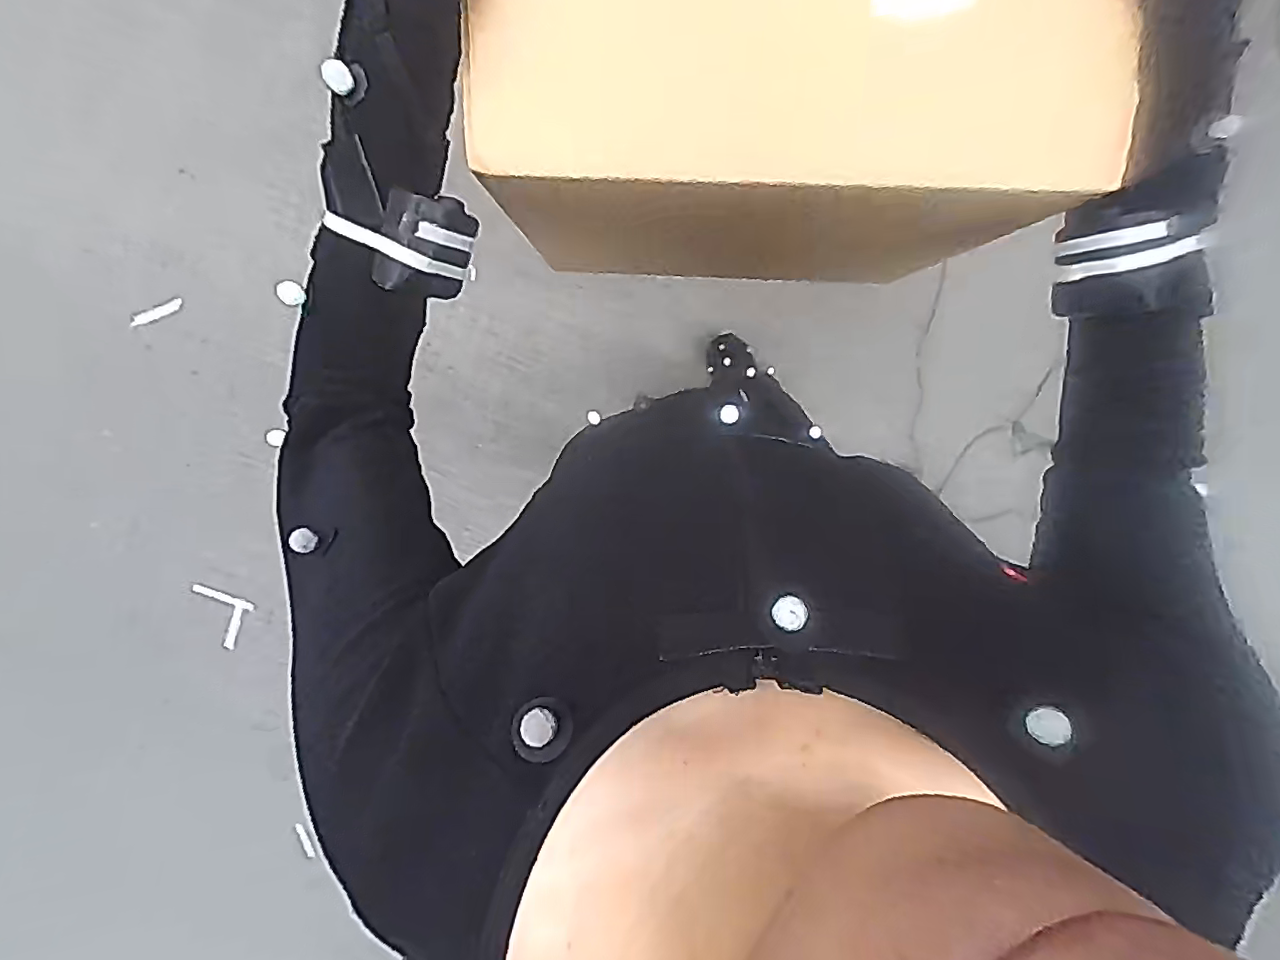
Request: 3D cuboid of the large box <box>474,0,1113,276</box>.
[{"bbox_3d":[0.093,-0.372,0.474,0.408,0.320,0.320,1,100,0],"label":"large box"}]
